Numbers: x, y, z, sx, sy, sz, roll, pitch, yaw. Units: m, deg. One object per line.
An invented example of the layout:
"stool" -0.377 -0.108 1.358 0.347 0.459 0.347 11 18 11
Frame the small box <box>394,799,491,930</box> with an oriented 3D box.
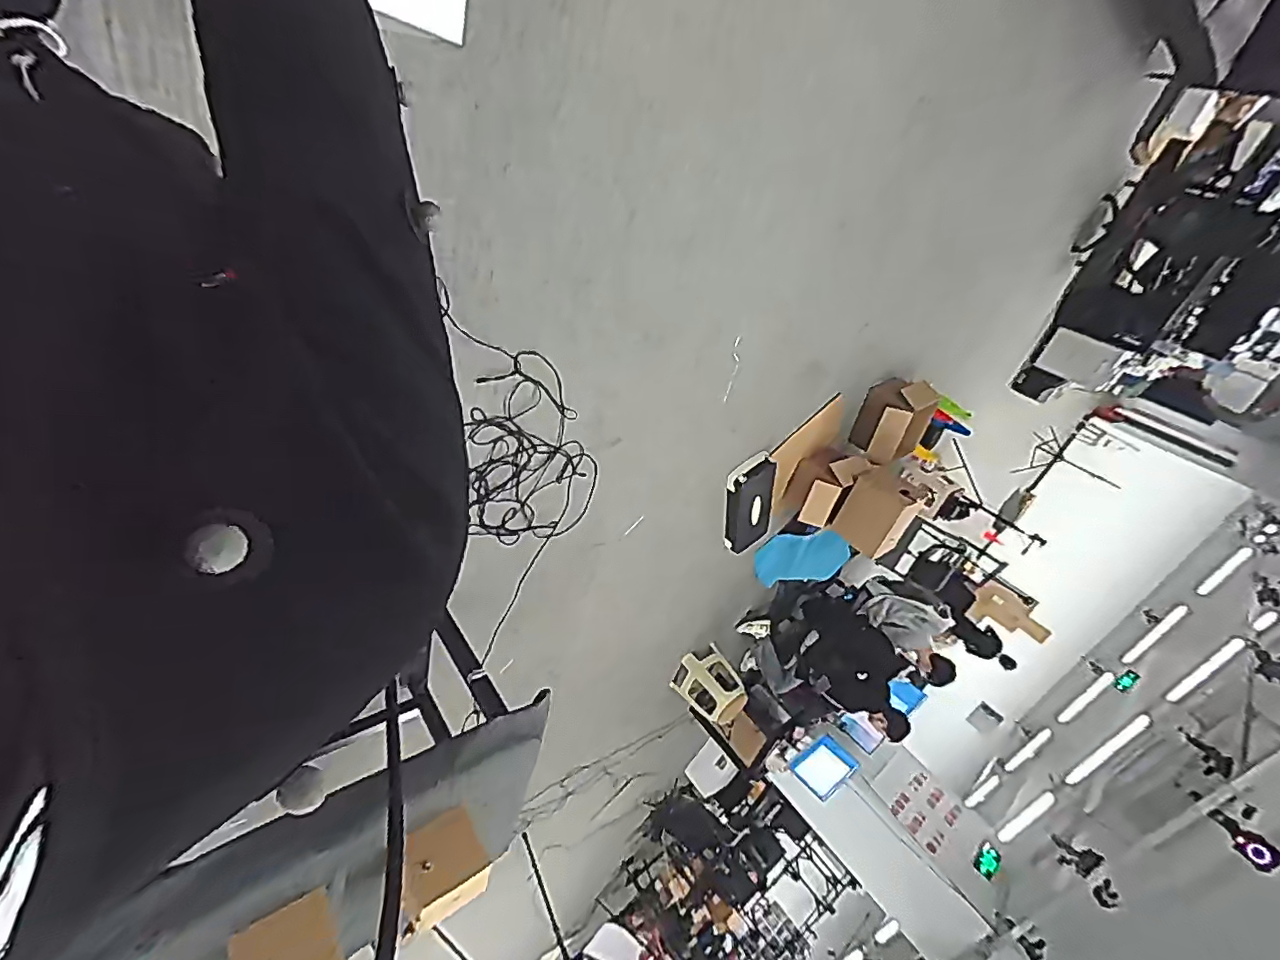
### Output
"small box" -0.498 0.948 1.347 0.179 0.176 0.168 -14 135 -41
